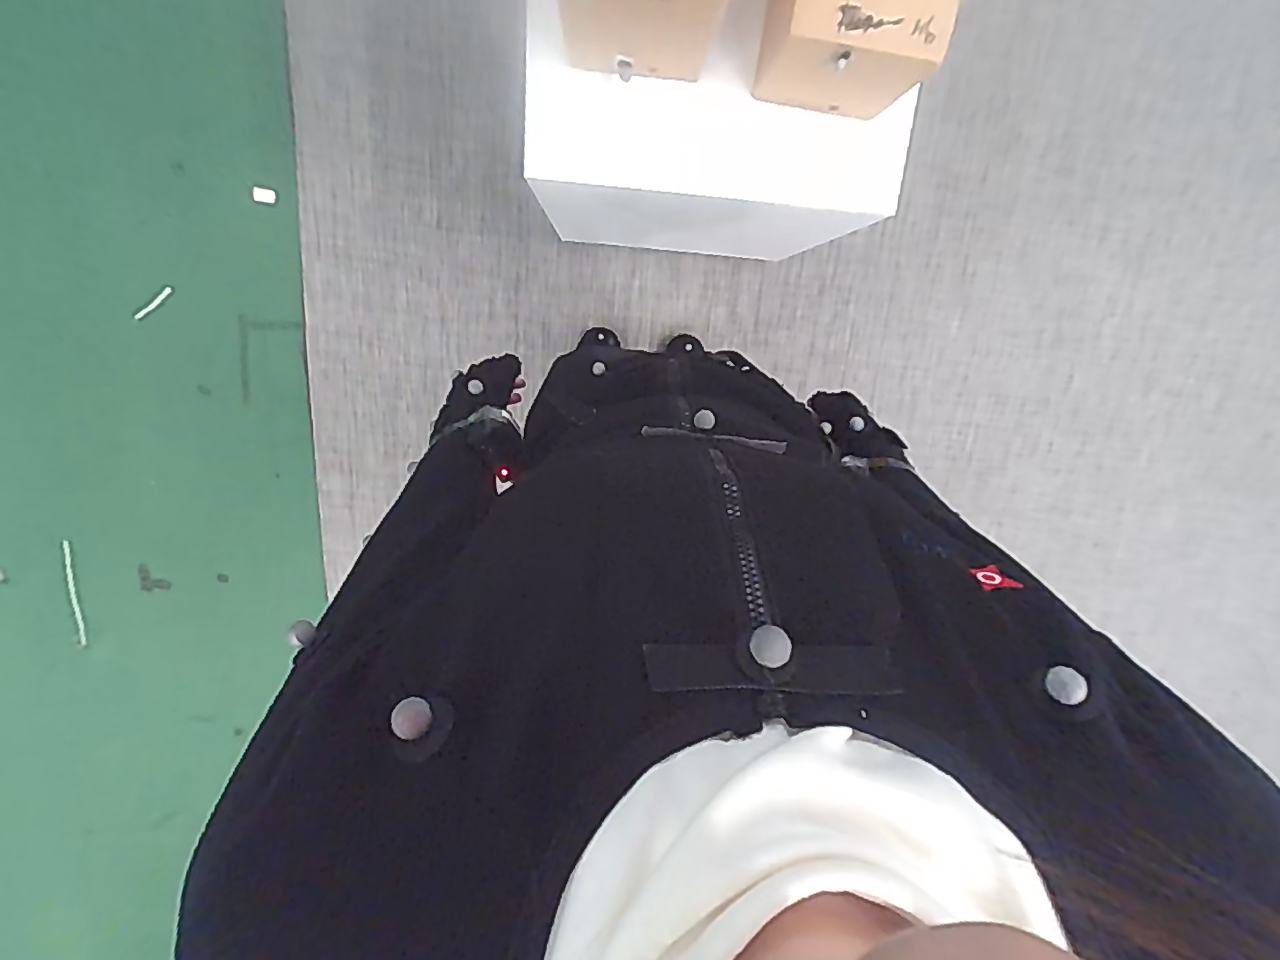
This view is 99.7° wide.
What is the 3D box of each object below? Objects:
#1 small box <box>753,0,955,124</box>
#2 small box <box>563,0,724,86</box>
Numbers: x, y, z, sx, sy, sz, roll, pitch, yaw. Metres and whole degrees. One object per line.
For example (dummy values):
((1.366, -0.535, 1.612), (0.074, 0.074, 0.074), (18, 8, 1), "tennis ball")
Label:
((0.238, -0.541, 0.609), (0.168, 0.176, 0.179), (8, 105, -5), "small box")
((0.004, -0.573, 0.592), (0.168, 0.176, 0.179), (3, 107, -2), "small box")
